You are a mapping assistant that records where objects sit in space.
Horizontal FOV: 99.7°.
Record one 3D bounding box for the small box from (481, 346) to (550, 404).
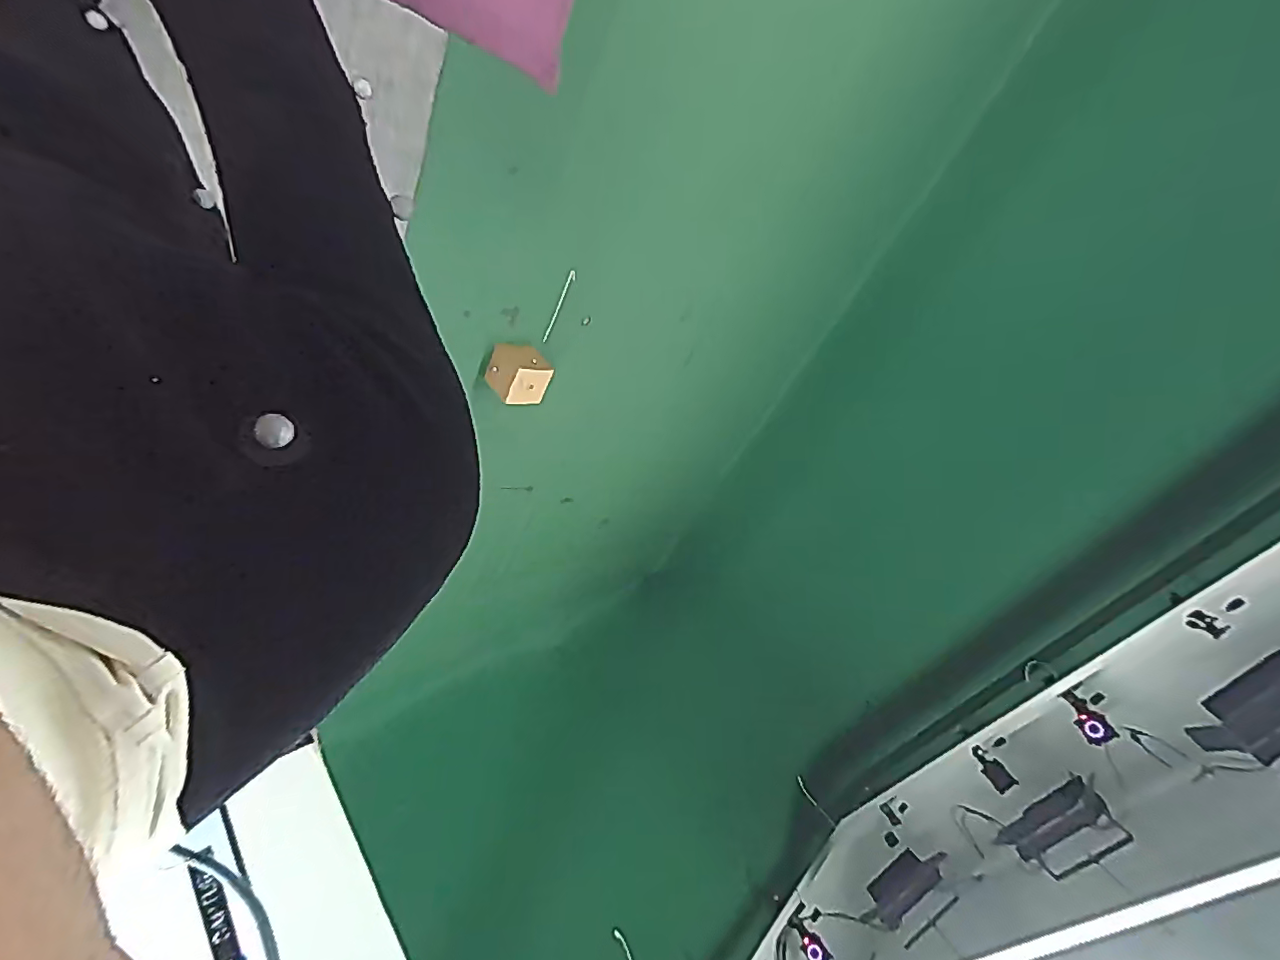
[{"bbox_3d":[-0.497,-0.417,2.149,0.179,0.176,0.168,-11,140,-49],"label":"small box"}]
